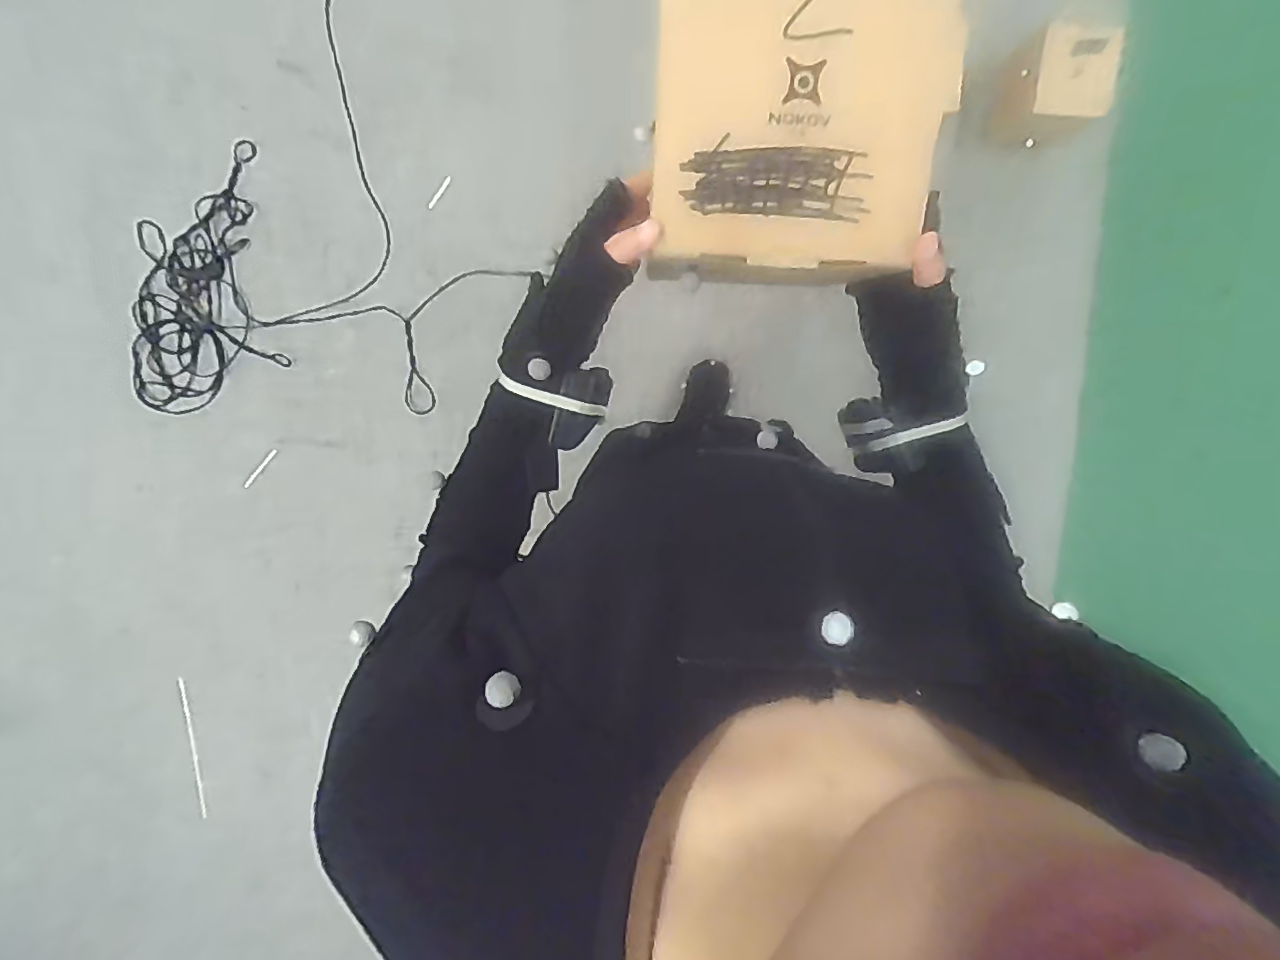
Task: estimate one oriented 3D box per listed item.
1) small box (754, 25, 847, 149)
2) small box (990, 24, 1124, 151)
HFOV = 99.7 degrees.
[{"bbox_3d":[0.359,-0.893,1.239,0.168,0.176,0.179,1,99,1],"label":"small box"},{"bbox_3d":[0.940,-0.889,1.236,0.168,0.176,0.179,4,100,0],"label":"small box"}]
